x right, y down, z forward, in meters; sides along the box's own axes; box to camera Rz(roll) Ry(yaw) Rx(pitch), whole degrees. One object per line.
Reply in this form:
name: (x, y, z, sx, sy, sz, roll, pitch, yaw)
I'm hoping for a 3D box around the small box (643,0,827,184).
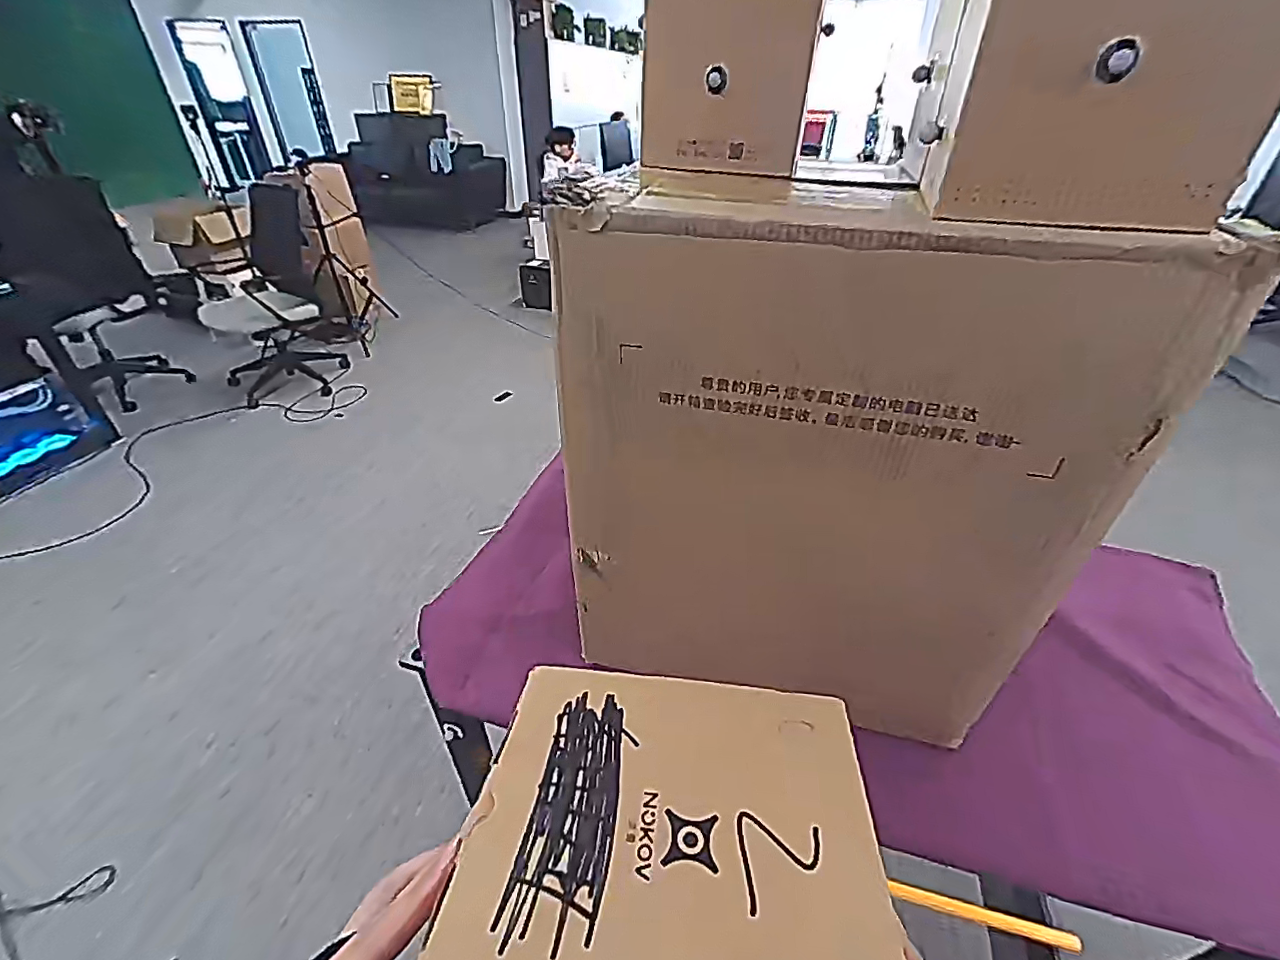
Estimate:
small box: (0.104, -0.434, 0.595, 0.168, 0.176, 0.179, 11, 37, 11)
